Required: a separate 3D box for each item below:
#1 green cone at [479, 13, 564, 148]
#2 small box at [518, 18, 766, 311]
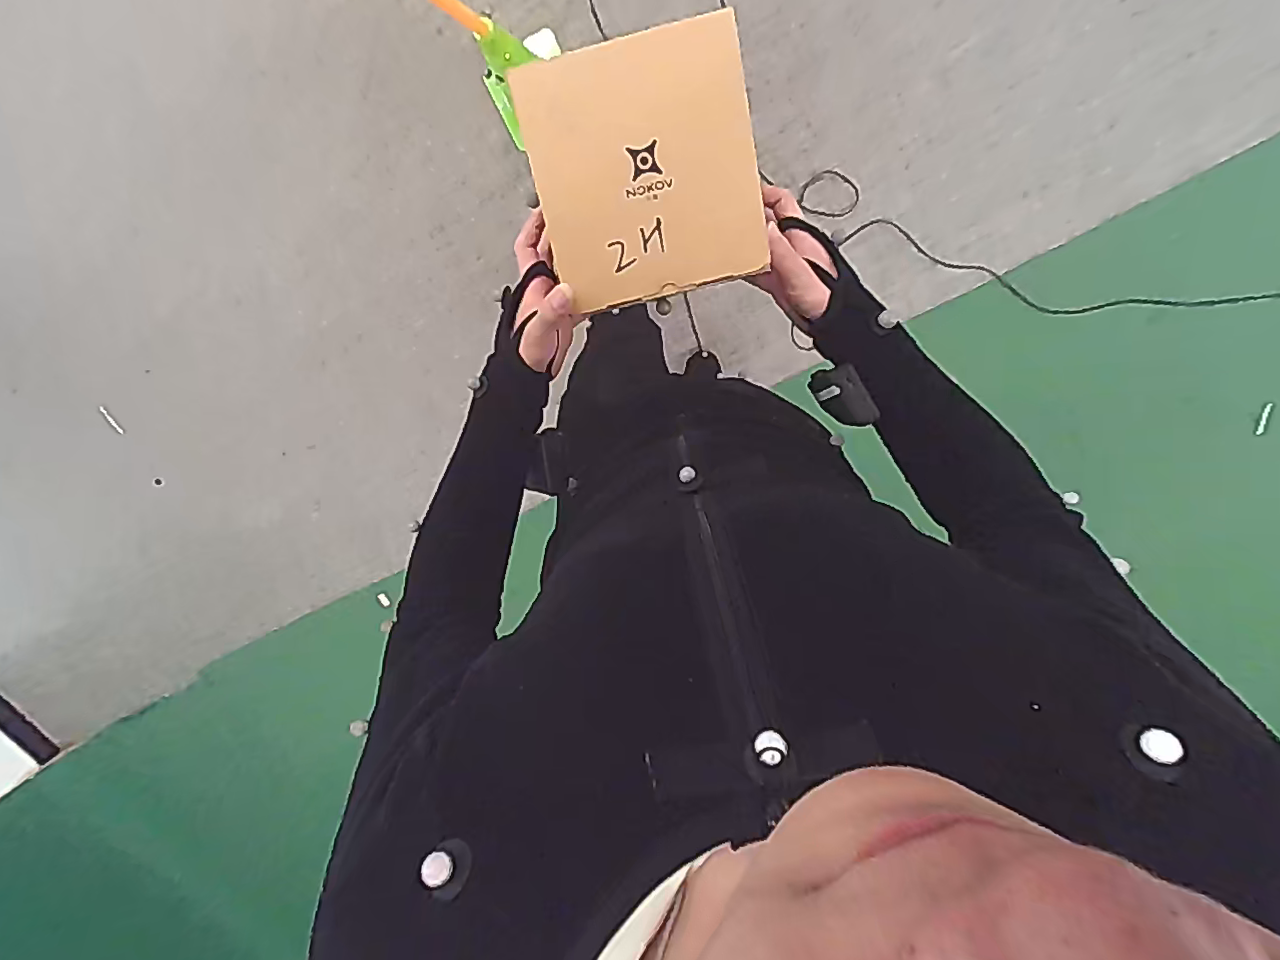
[{"bbox_3d":[-0.273,-0.903,1.175,0.202,0.368,0.200,-25,107,12],"label":"green cone"},{"bbox_3d":[0.004,-0.256,0.488,0.168,0.176,0.179,-11,108,4],"label":"small box"}]
